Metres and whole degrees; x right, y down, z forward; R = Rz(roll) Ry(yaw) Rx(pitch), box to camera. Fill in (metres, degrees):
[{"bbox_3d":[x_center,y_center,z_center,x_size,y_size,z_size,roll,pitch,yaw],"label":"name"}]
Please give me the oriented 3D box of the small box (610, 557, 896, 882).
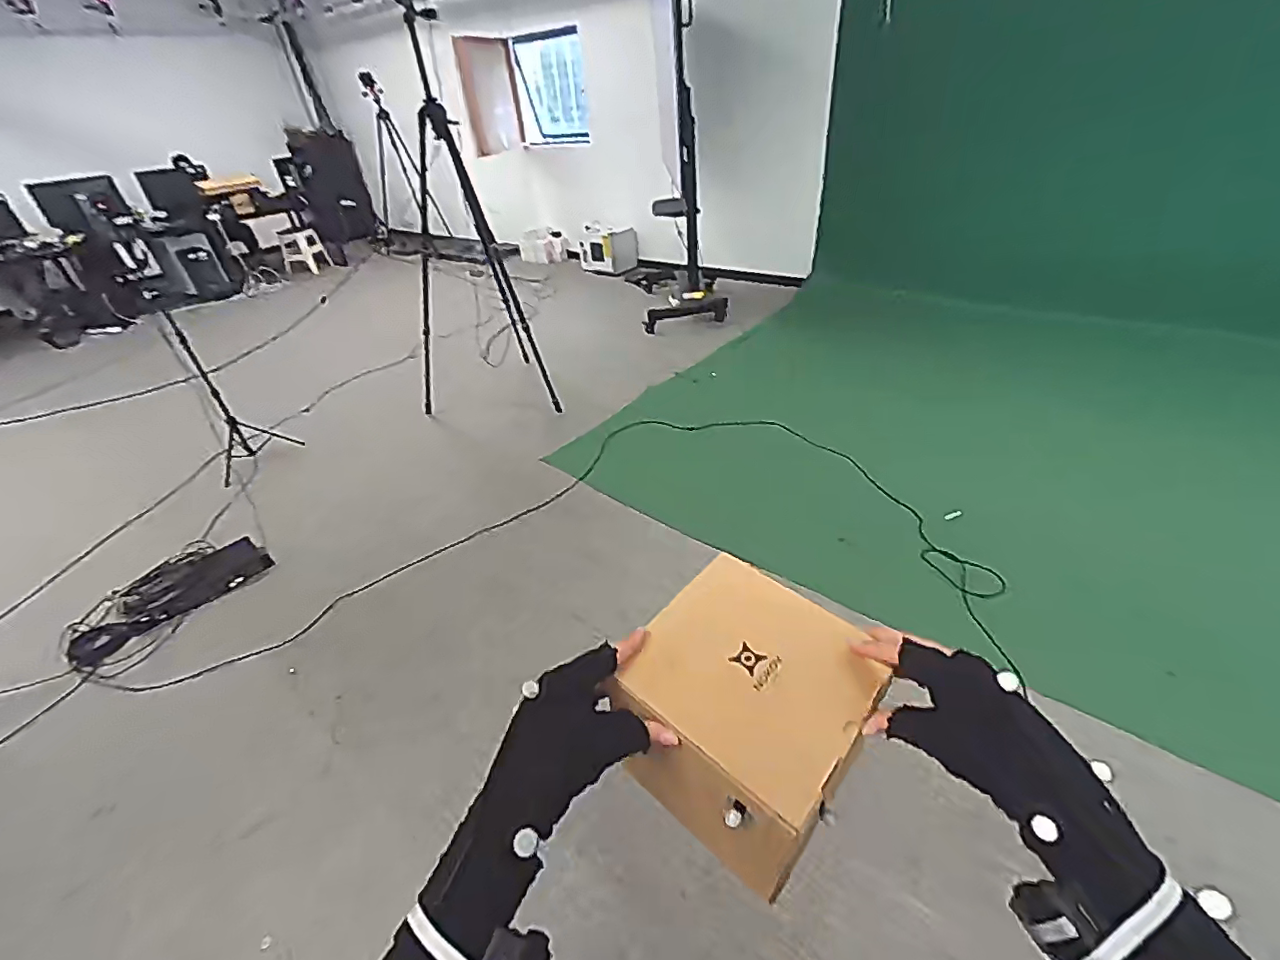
[{"bbox_3d":[0.092,0.210,0.488,0.179,0.176,0.168,29,49,32],"label":"small box"}]
